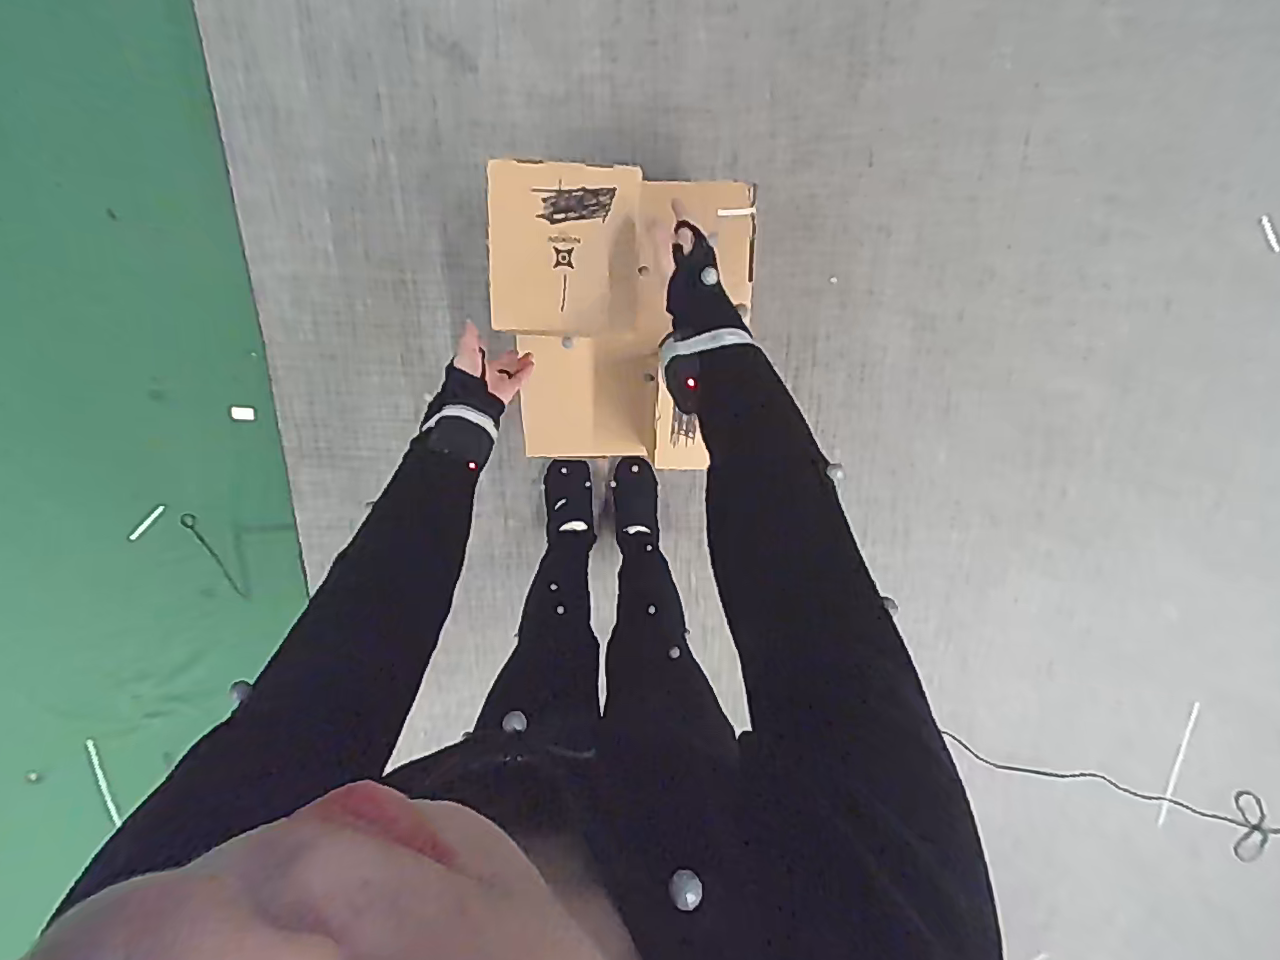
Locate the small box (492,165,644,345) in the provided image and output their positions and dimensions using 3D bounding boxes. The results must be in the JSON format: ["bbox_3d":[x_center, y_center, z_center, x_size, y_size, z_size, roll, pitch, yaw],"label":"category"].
[{"bbox_3d":[-0.086,-0.265,0.675,0.168,0.176,0.179,1,103,-3],"label":"small box"}]
